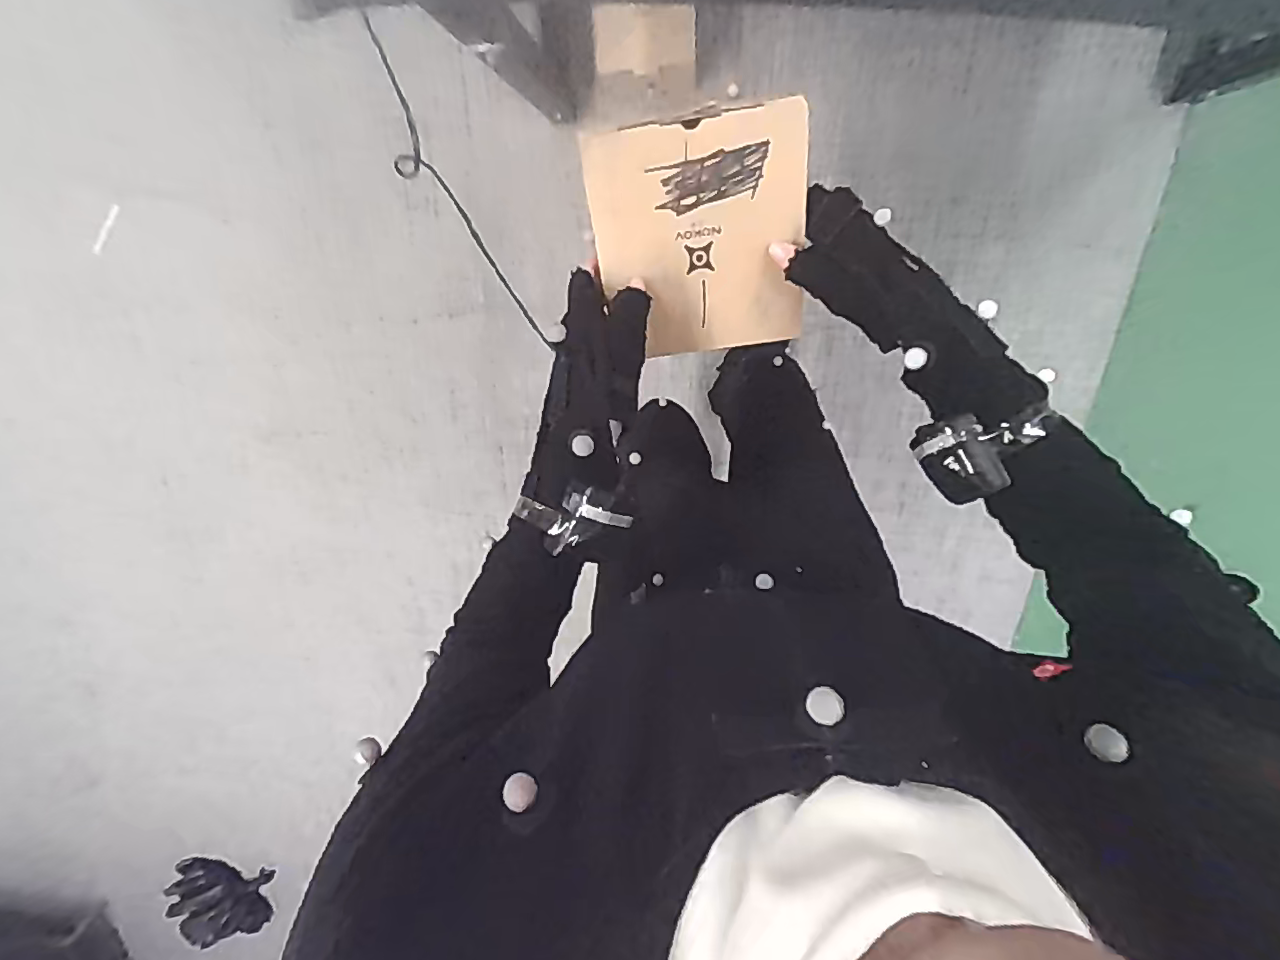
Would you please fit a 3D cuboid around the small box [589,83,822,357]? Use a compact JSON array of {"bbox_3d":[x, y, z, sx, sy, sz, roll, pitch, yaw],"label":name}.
[{"bbox_3d":[0.052,-0.231,0.481,0.168,0.176,0.179,-7,125,4],"label":"small box"}]
